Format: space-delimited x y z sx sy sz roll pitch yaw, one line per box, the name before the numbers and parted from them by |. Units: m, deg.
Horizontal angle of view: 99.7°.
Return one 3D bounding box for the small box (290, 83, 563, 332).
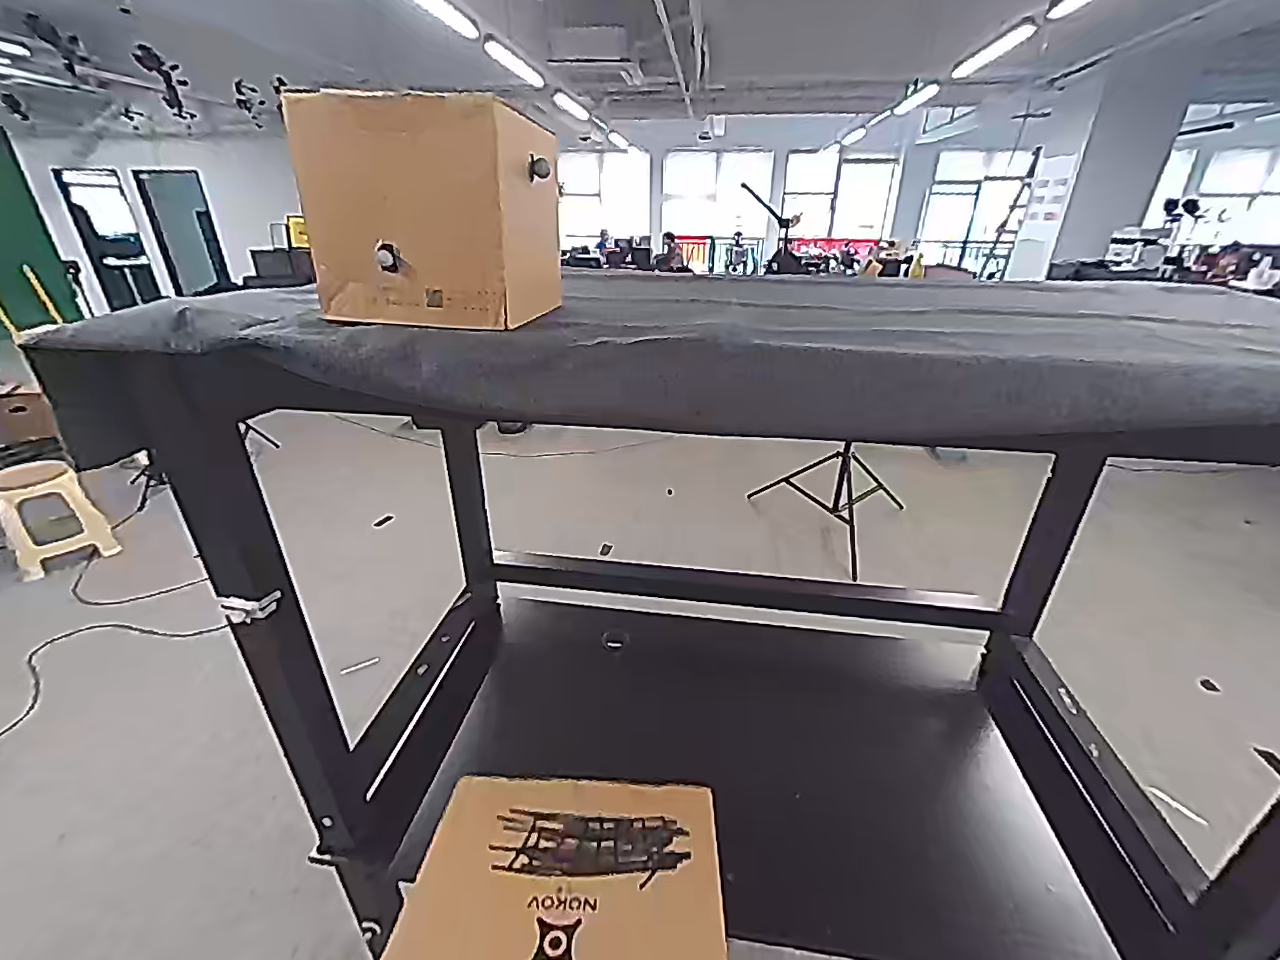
small box | -0.171 -0.239 0.496 0.168 0.176 0.179 4 25 5
